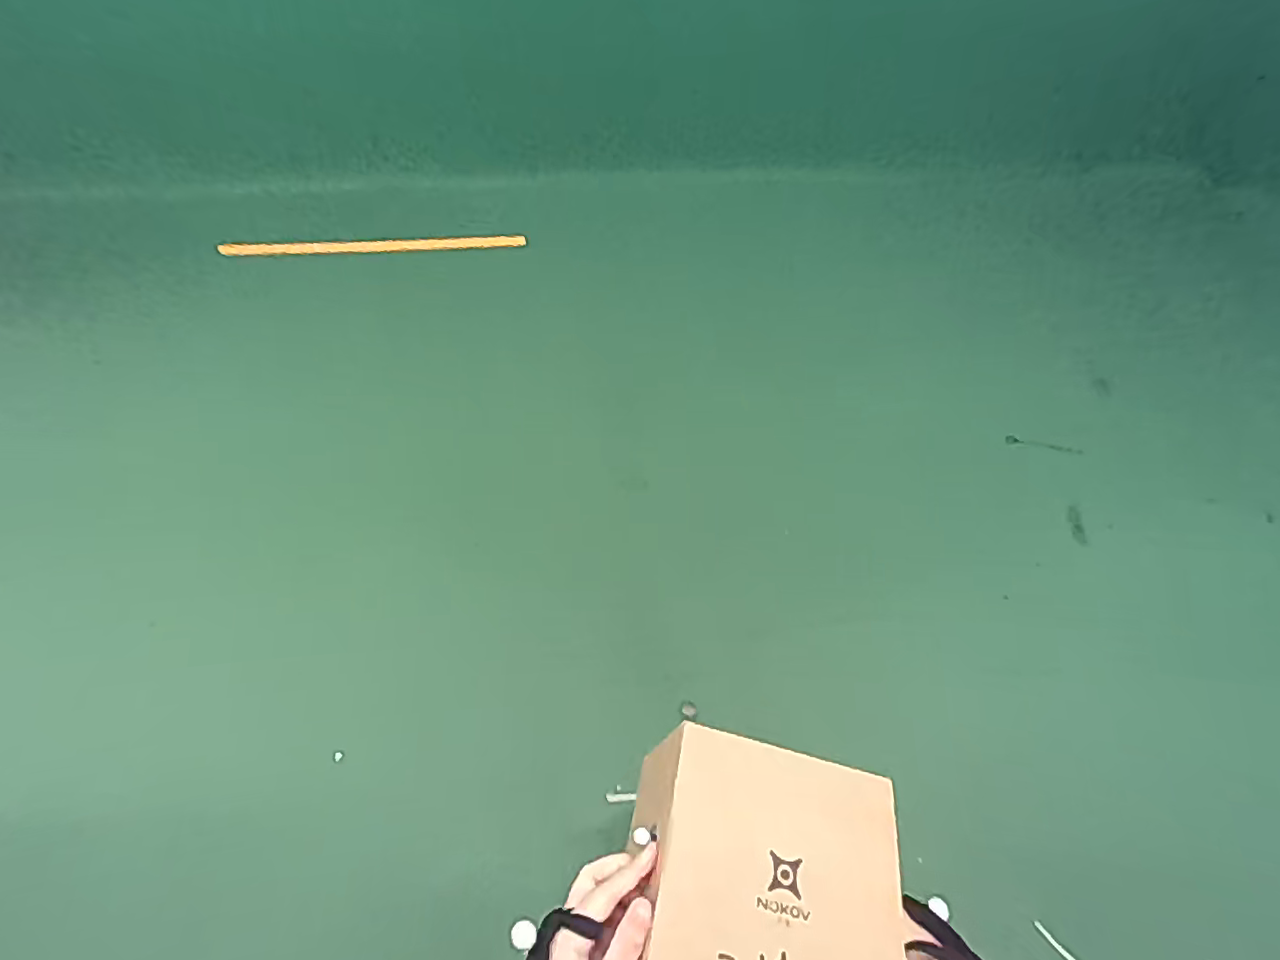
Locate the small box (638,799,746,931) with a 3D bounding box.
[{"bbox_3d":[0.082,0.675,0.962,0.168,0.176,0.179,-1,59,-3],"label":"small box"}]
